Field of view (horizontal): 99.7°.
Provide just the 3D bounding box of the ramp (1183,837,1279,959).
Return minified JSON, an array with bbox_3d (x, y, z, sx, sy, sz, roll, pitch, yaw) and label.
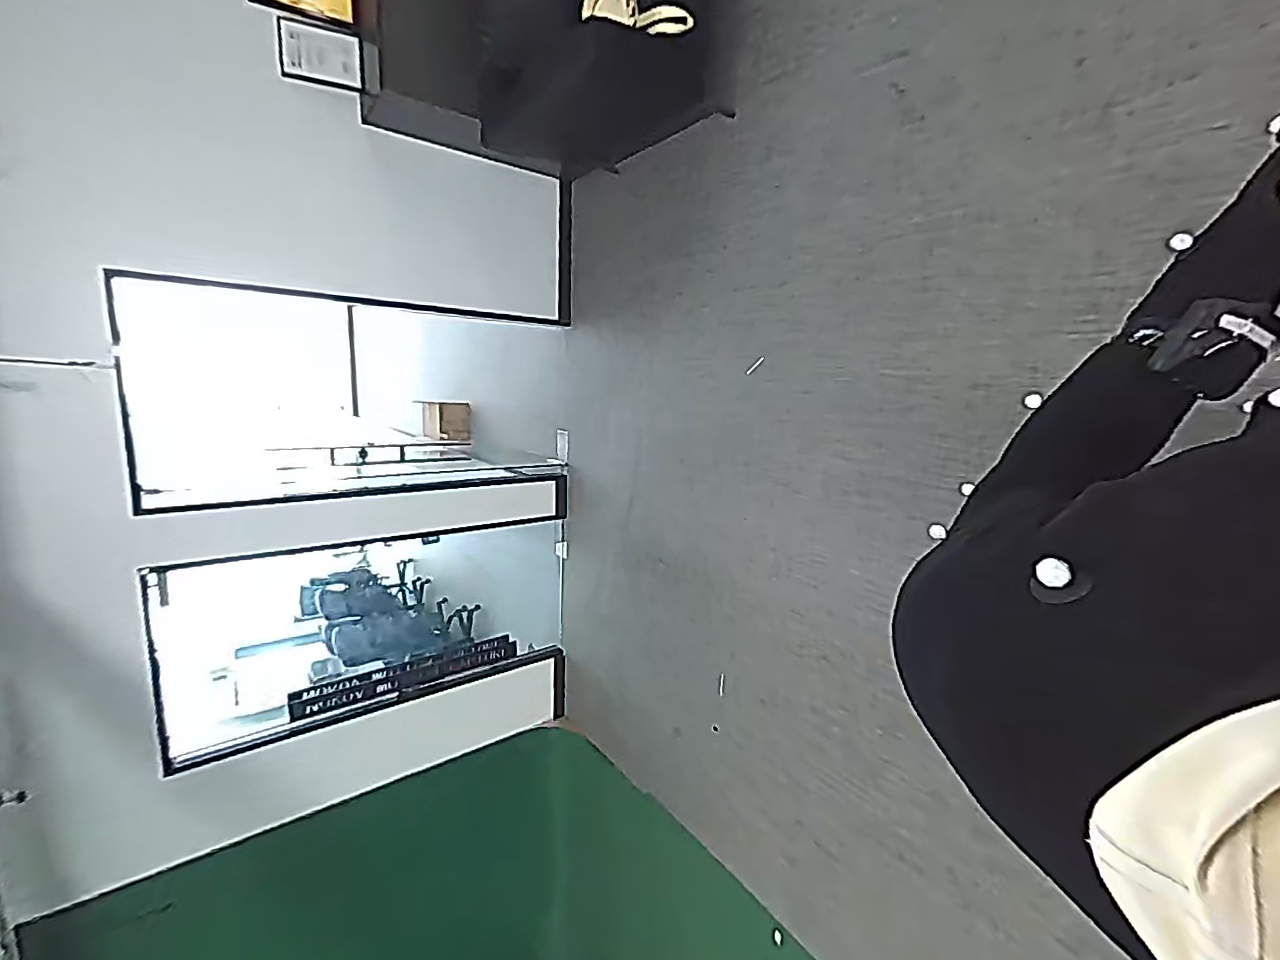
[{"bbox_3d":[1.344,1.307,1.043,0.509,0.206,0.991,12,103,53],"label":"ramp"}]
